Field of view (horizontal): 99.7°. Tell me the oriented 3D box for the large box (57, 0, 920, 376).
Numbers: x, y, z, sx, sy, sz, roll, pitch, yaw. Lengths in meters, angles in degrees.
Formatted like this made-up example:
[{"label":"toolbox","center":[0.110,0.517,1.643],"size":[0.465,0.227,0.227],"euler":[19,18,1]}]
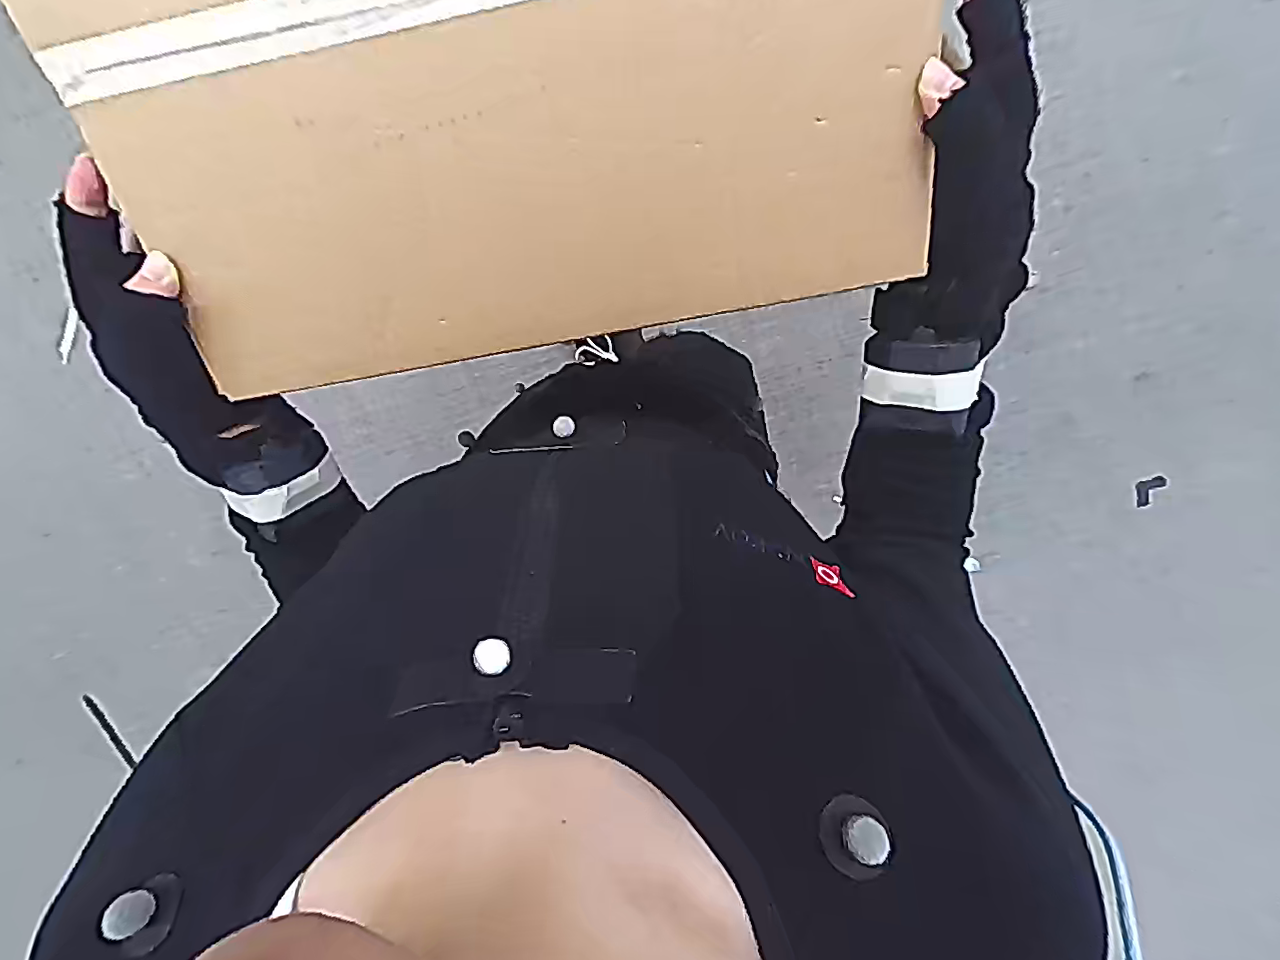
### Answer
[{"label":"large box","center":[-0.074,-0.294,0.382],"size":[0.408,0.320,0.320],"euler":[-9,117,4]}]
